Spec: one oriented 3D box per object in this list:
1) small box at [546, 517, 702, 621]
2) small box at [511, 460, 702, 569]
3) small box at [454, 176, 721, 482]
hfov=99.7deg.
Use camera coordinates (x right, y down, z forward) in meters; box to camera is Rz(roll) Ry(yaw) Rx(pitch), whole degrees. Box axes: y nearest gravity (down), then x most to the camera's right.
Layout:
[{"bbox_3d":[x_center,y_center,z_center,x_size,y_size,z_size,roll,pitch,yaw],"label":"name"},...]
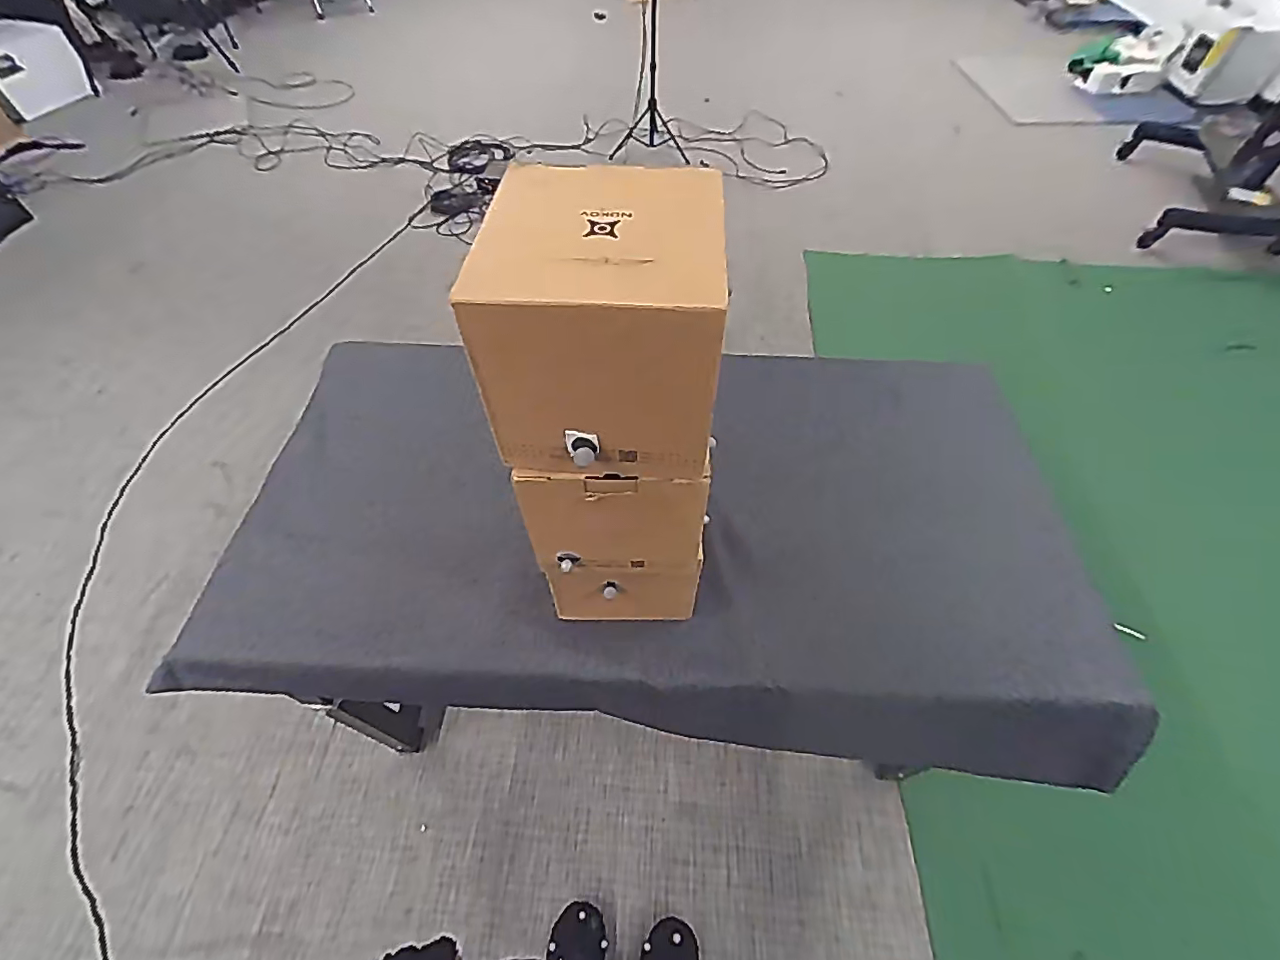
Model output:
[{"bbox_3d":[-0.019,0.073,0.703,0.179,0.176,0.168,-3,51,-2],"label":"small box"},{"bbox_3d":[-0.025,-0.018,0.563,0.168,0.176,0.179,0,52,1],"label":"small box"},{"bbox_3d":[-0.027,-0.119,0.437,0.168,0.176,0.179,1,54,3],"label":"small box"}]
